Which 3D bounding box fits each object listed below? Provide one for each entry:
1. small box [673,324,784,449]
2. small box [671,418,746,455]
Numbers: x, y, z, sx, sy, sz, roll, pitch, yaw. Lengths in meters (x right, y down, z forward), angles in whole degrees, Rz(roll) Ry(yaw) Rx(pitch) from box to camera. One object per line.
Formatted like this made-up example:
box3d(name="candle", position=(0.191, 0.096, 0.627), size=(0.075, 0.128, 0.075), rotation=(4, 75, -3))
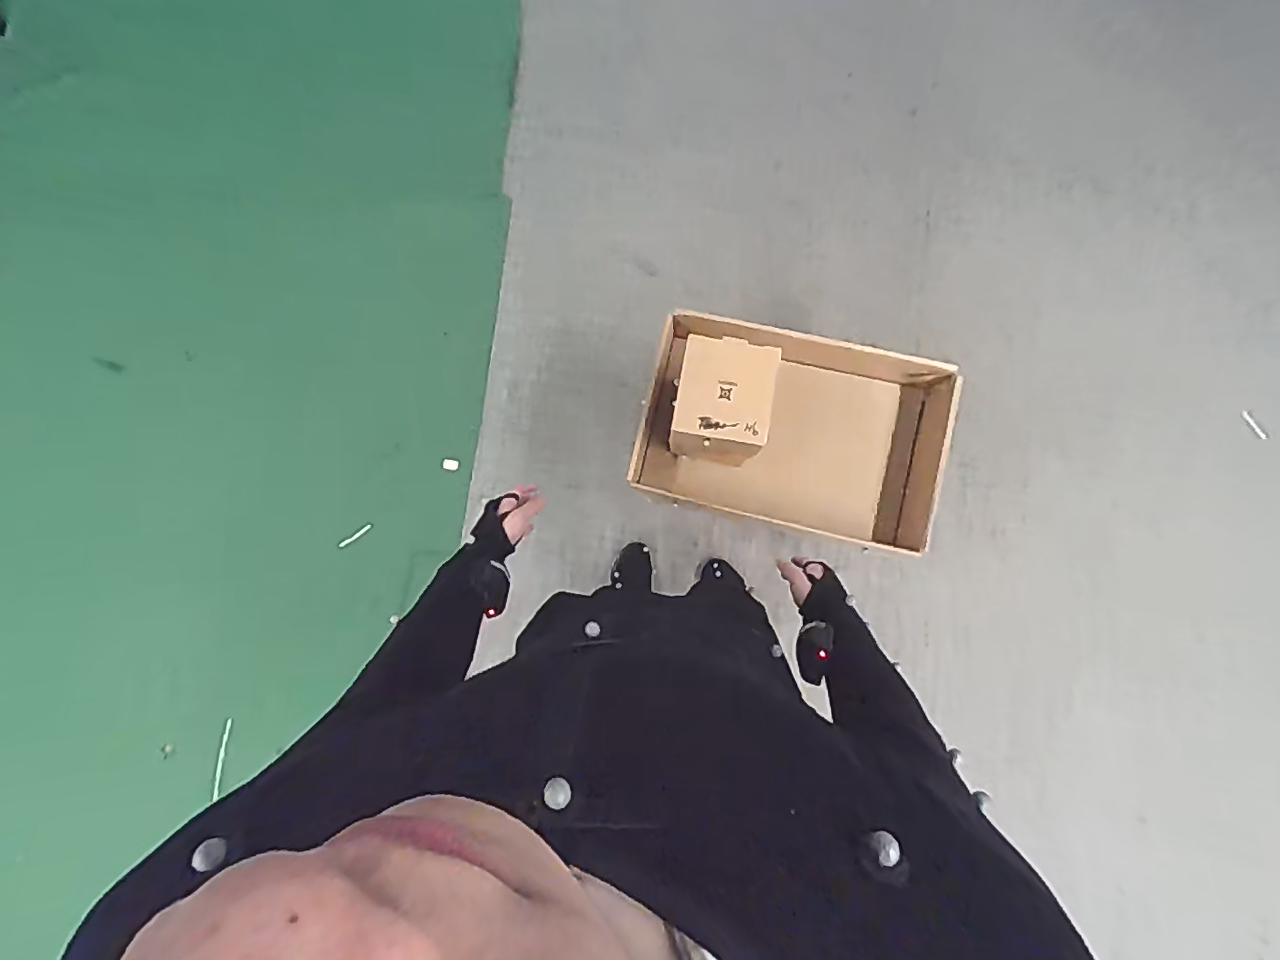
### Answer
box3d(name="small box", position=(0.159, -0.166, 1.009), size=(0.168, 0.176, 0.179), rotation=(11, 87, 7))
box3d(name="small box", position=(0.170, -0.159, 1.173), size=(0.168, 0.176, 0.179), rotation=(13, 86, 6))
